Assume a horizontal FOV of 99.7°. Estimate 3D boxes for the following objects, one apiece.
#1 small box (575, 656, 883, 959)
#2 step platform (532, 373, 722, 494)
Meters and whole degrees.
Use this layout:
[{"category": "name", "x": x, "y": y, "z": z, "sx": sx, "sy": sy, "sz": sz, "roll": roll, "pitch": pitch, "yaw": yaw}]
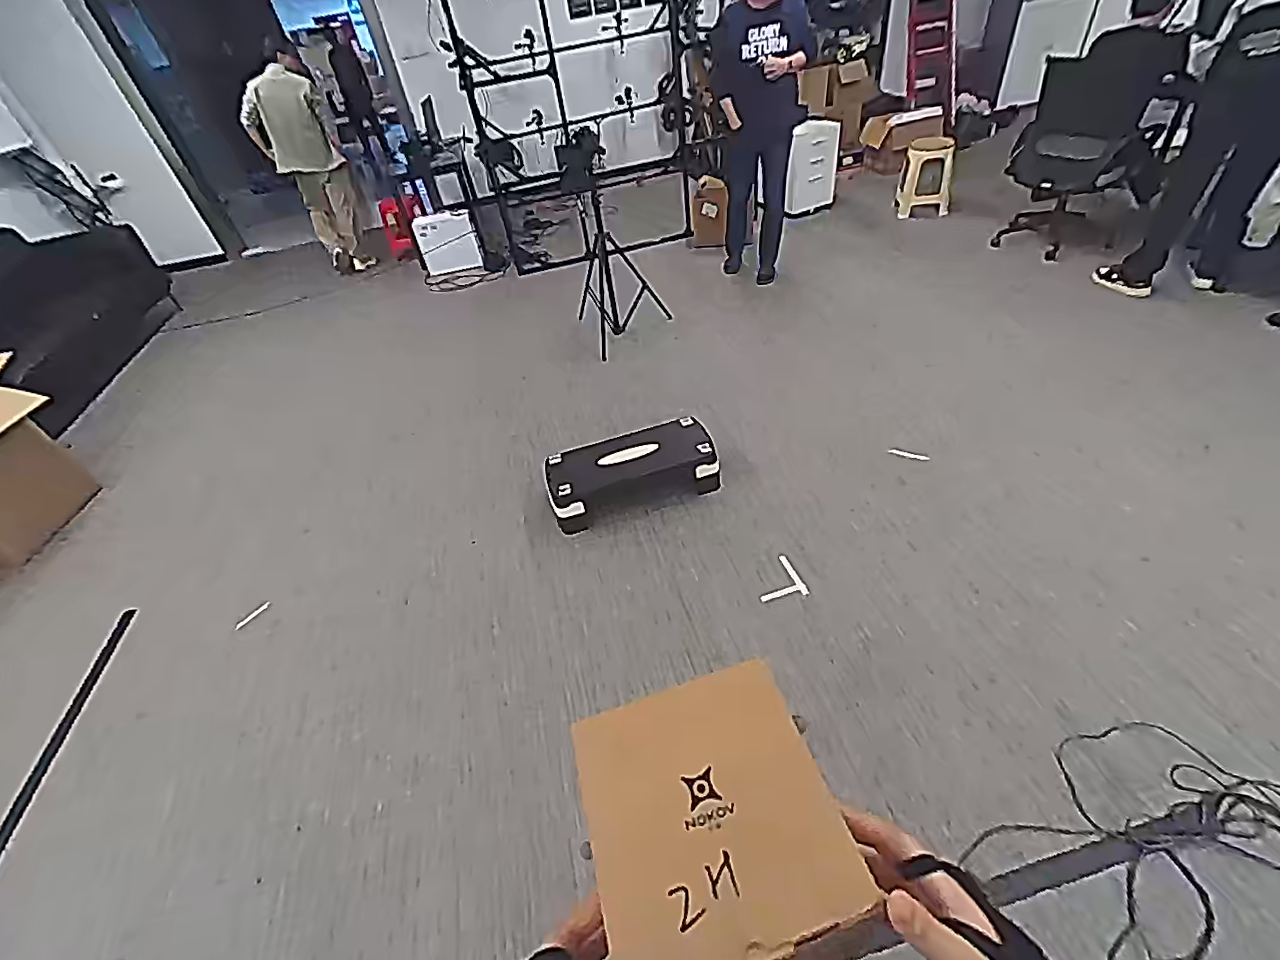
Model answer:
[{"category": "small box", "x": 0.058, "y": 0.278, "z": 0.425, "sx": 0.168, "sy": 0.176, "sz": 0.179, "roll": -18, "pitch": 41, "yaw": -5}, {"category": "step platform", "x": -0.045, "y": -0.176, "z": 2.027, "sx": 0.684, "sy": 0.204, "sz": 0.286, "roll": -16, "pitch": 41, "yaw": -8}]
